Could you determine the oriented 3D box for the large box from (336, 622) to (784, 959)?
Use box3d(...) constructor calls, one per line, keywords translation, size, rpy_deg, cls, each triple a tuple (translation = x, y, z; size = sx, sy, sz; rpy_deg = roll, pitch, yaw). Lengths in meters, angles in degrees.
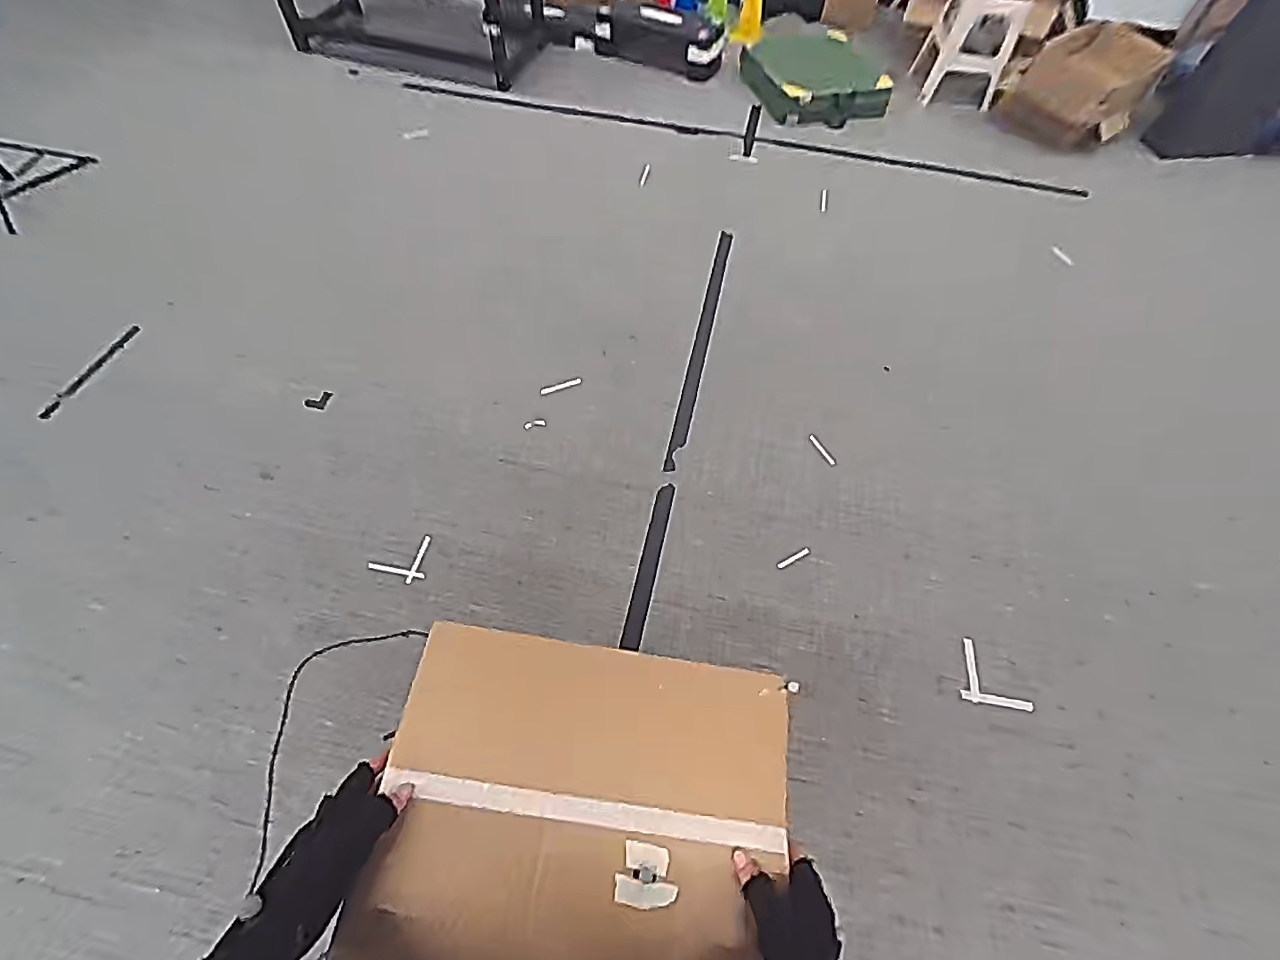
box3d(translation=(-0.066, 0.392, 0.669), size=(0.408, 0.320, 0.320), rpy_deg=(9, 61, -1), cls="large box")
